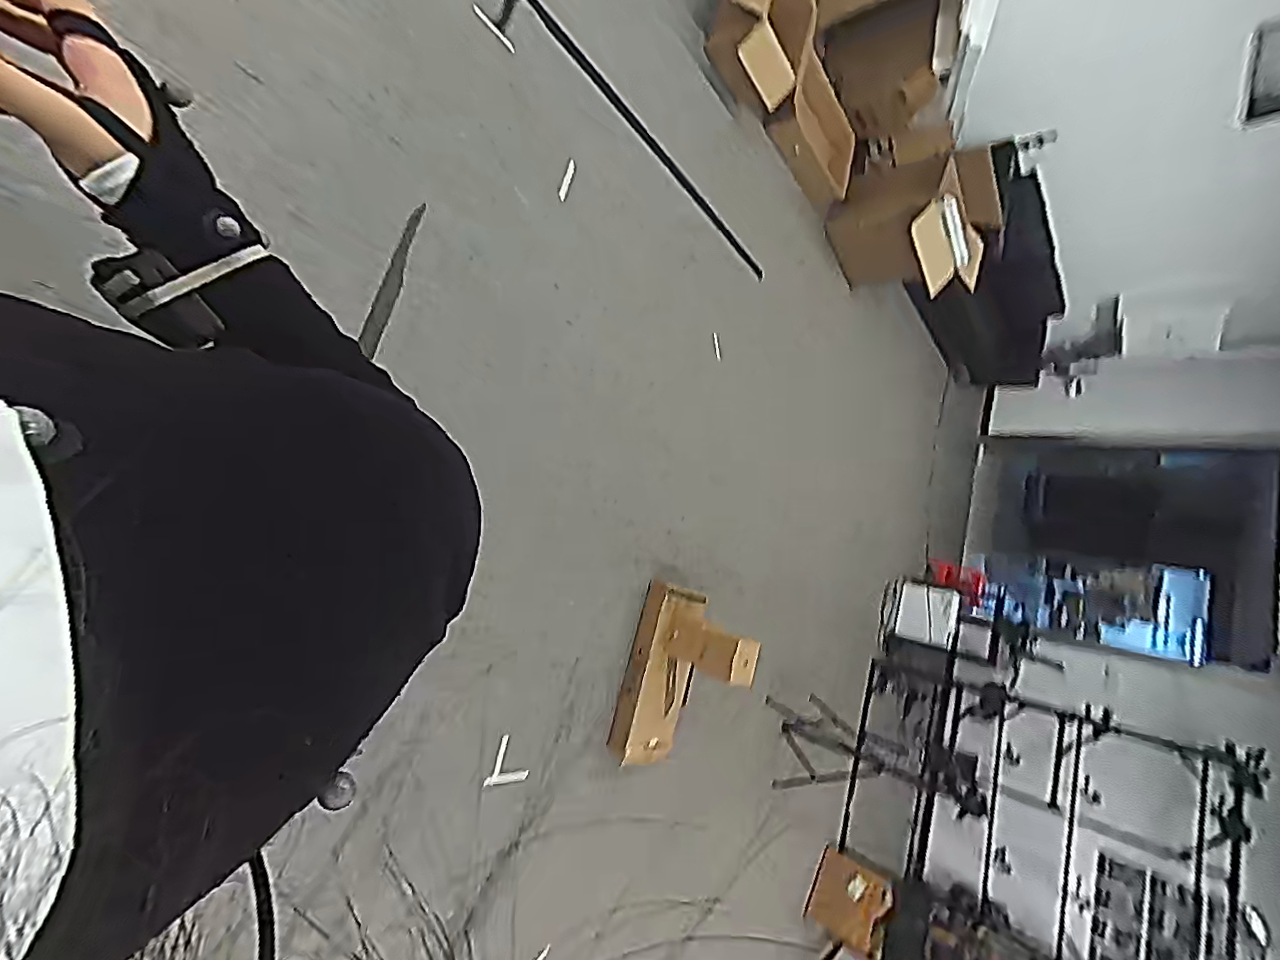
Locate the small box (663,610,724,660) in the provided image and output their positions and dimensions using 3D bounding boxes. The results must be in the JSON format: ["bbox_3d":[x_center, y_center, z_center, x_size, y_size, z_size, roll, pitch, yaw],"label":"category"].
[{"bbox_3d":[0.224,0.654,2.270,0.179,0.176,0.168,24,77,-45],"label":"small box"}]

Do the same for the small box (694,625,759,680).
[{"bbox_3d":[0.343,0.687,2.159,0.179,0.176,0.168,26,75,-45],"label":"small box"}]
